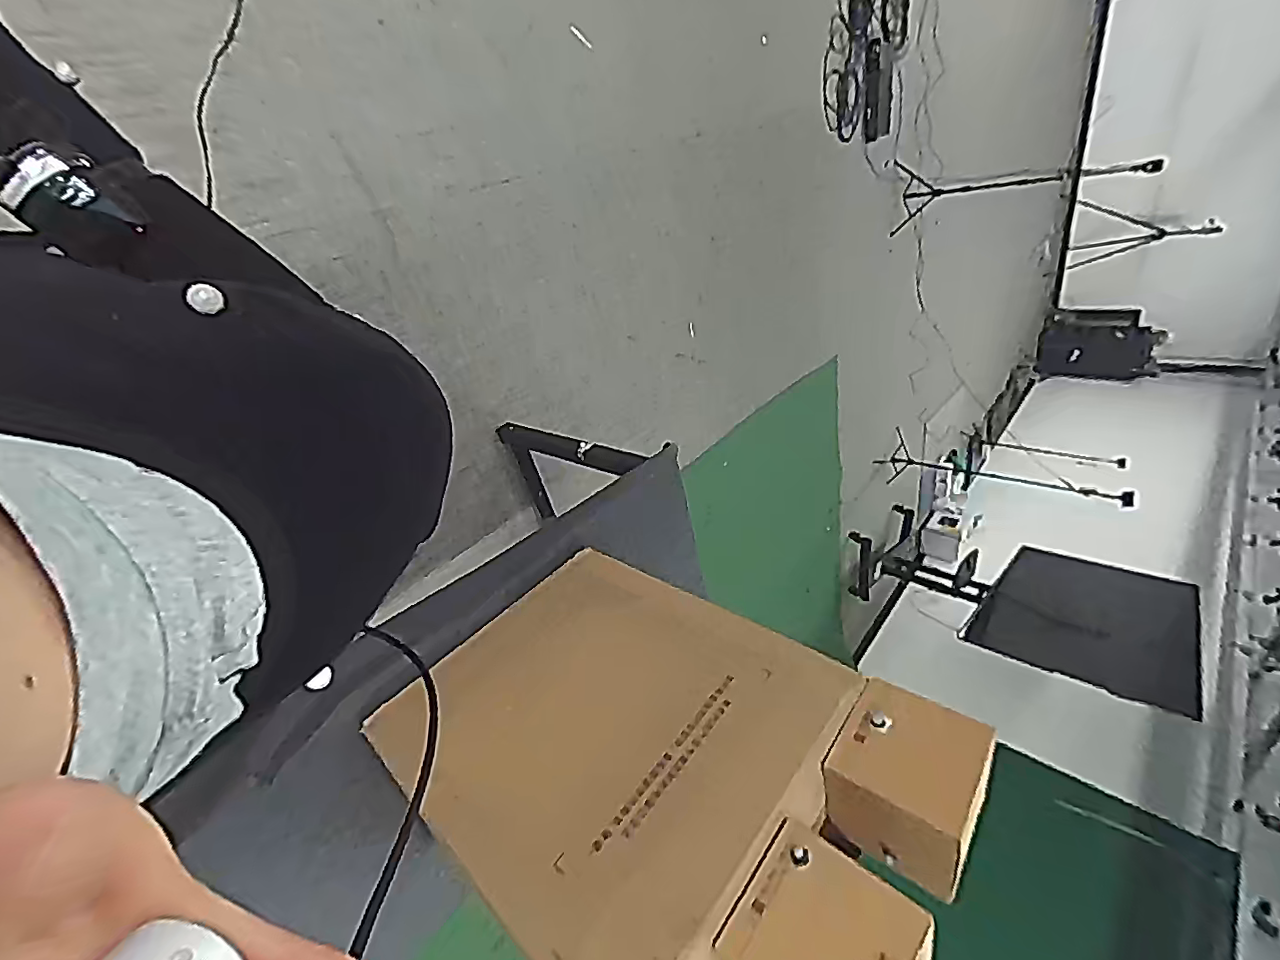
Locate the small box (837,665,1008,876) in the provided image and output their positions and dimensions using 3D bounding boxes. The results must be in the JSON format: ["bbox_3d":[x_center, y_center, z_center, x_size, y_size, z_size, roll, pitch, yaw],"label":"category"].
[{"bbox_3d":[0.395,0.396,0.763,0.168,0.176,0.179,-43,129,-34],"label":"small box"}]

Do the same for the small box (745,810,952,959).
[{"bbox_3d":[0.238,0.524,0.621,0.168,0.176,0.179,-41,129,-32],"label":"small box"}]
